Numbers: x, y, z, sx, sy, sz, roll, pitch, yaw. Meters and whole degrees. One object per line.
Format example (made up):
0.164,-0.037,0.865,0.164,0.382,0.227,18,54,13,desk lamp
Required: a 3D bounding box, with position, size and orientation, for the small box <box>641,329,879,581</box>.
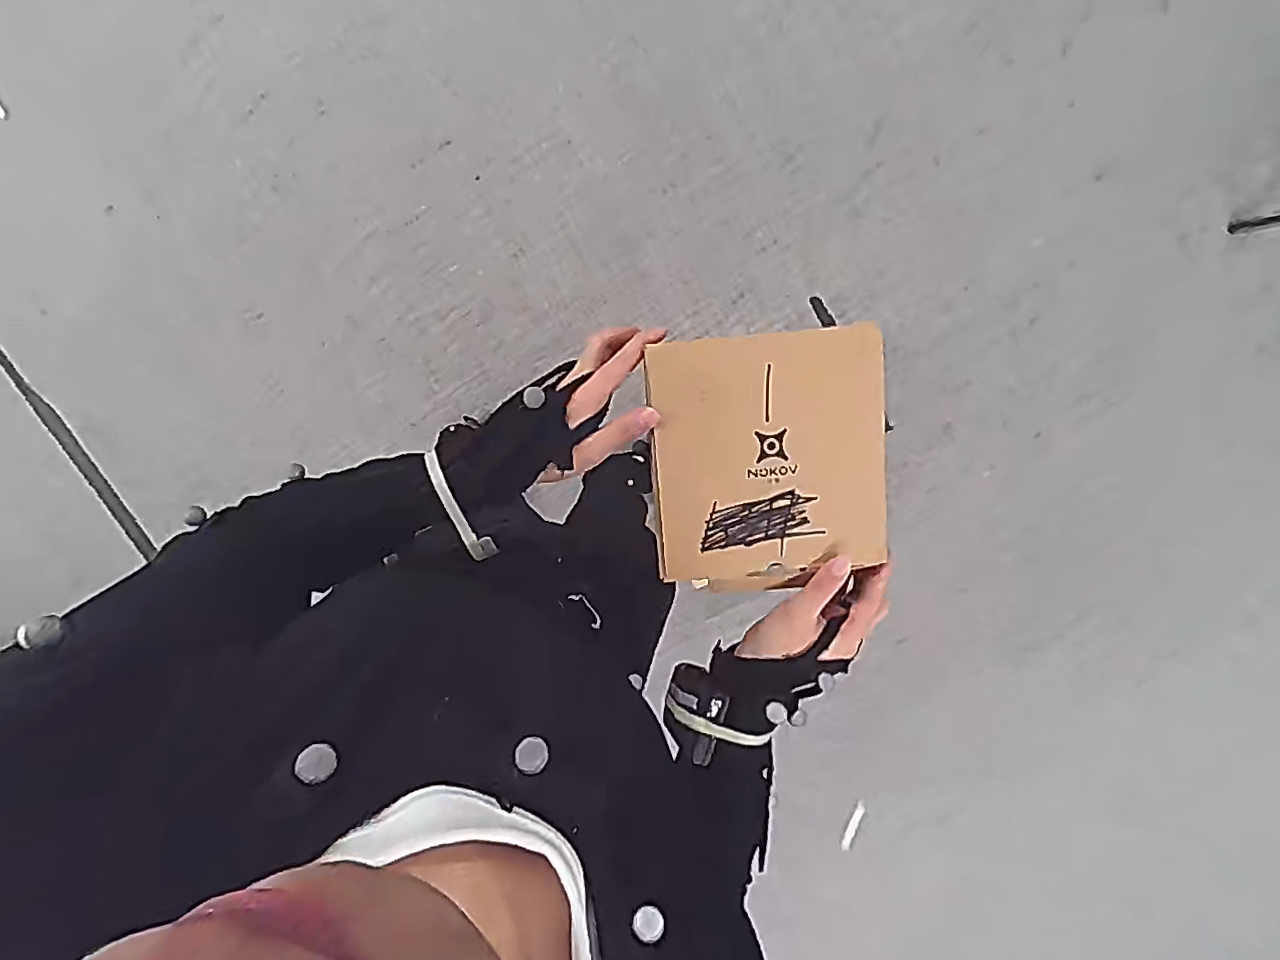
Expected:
0.090,-0.028,0.467,0.168,0.176,0.179,-5,99,1,small box
